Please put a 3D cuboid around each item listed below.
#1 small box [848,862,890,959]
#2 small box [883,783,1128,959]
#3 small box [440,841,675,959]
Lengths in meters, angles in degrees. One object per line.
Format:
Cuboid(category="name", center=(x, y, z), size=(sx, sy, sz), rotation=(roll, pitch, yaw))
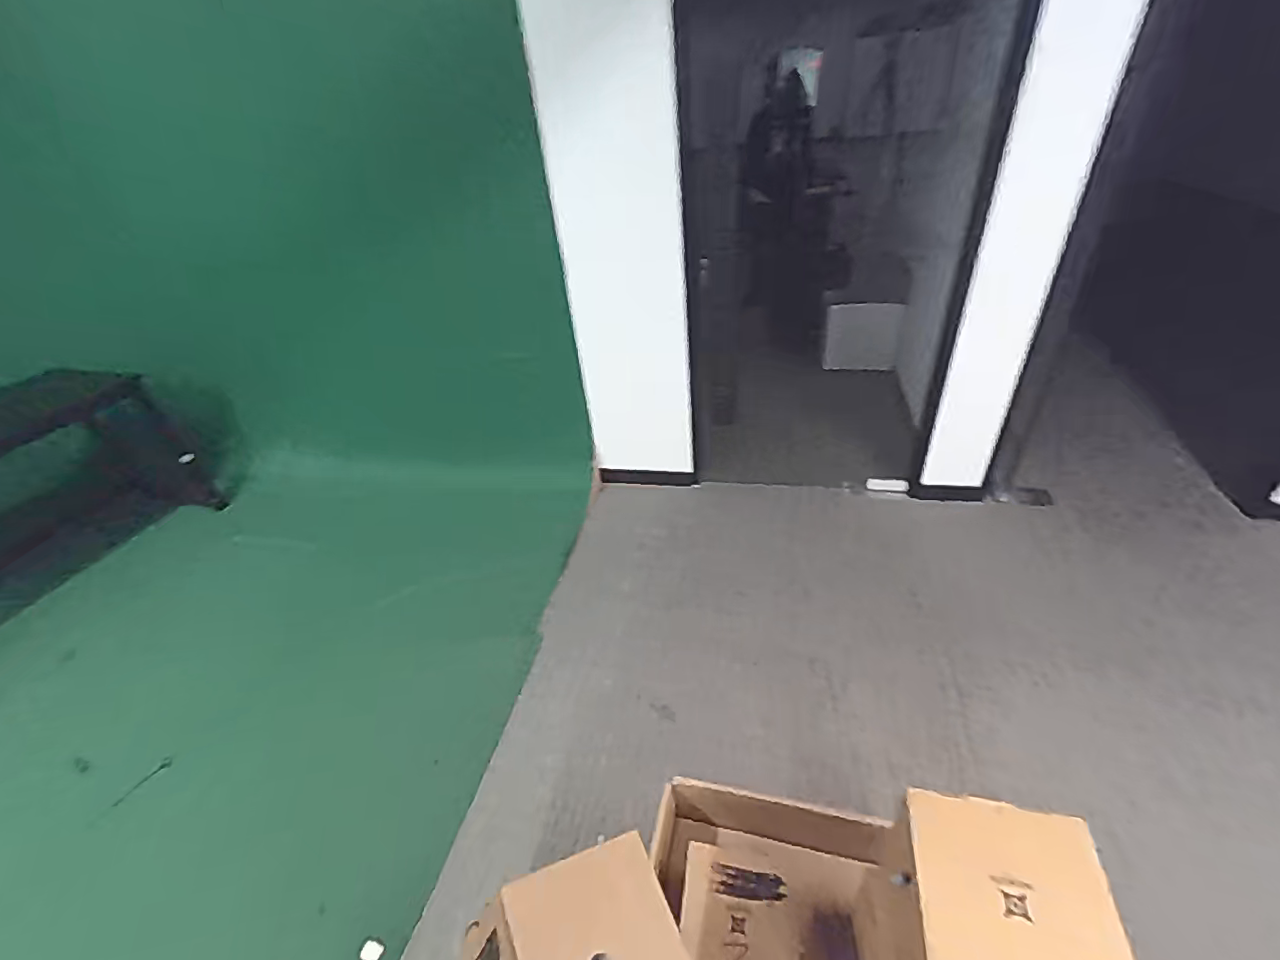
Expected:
Cuboid(category="small box", center=(0.356, 0.581, 0.632), size=(0.179, 0.176, 0.168), rotation=(-2, 35, 9))
Cuboid(category="small box", center=(0.348, 0.447, 0.541), size=(0.168, 0.176, 0.179), rotation=(3, 36, 16))
Cuboid(category="small box", center=(-0.078, 0.495, 0.536), size=(0.176, 0.168, 0.179), rotation=(1, 40, -37))
